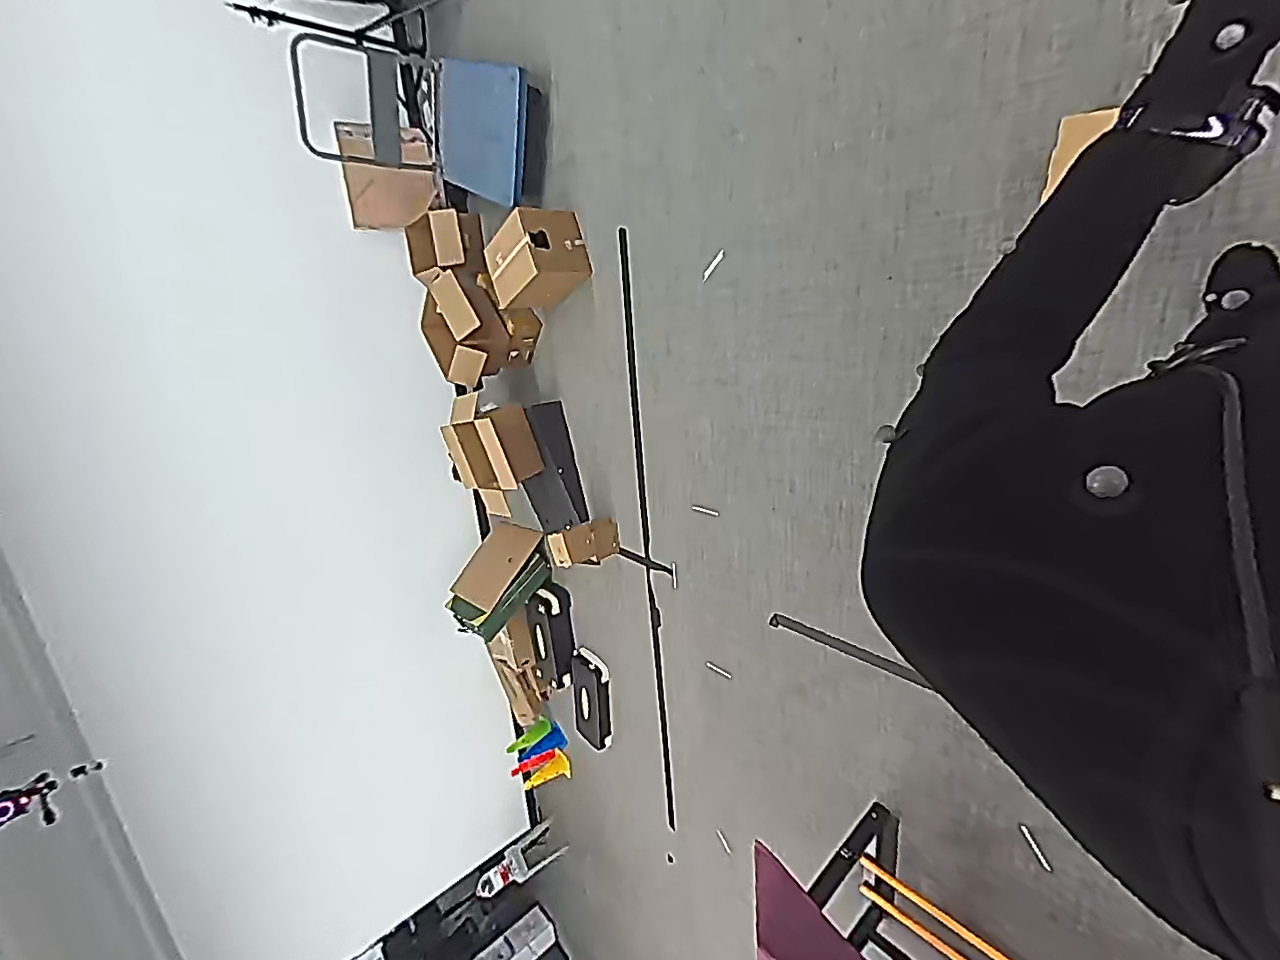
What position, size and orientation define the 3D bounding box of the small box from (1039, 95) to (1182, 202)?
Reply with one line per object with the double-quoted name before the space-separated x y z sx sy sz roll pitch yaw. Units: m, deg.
"small box" 0.977 -0.678 1.124 0.179 0.176 0.168 24 123 44
